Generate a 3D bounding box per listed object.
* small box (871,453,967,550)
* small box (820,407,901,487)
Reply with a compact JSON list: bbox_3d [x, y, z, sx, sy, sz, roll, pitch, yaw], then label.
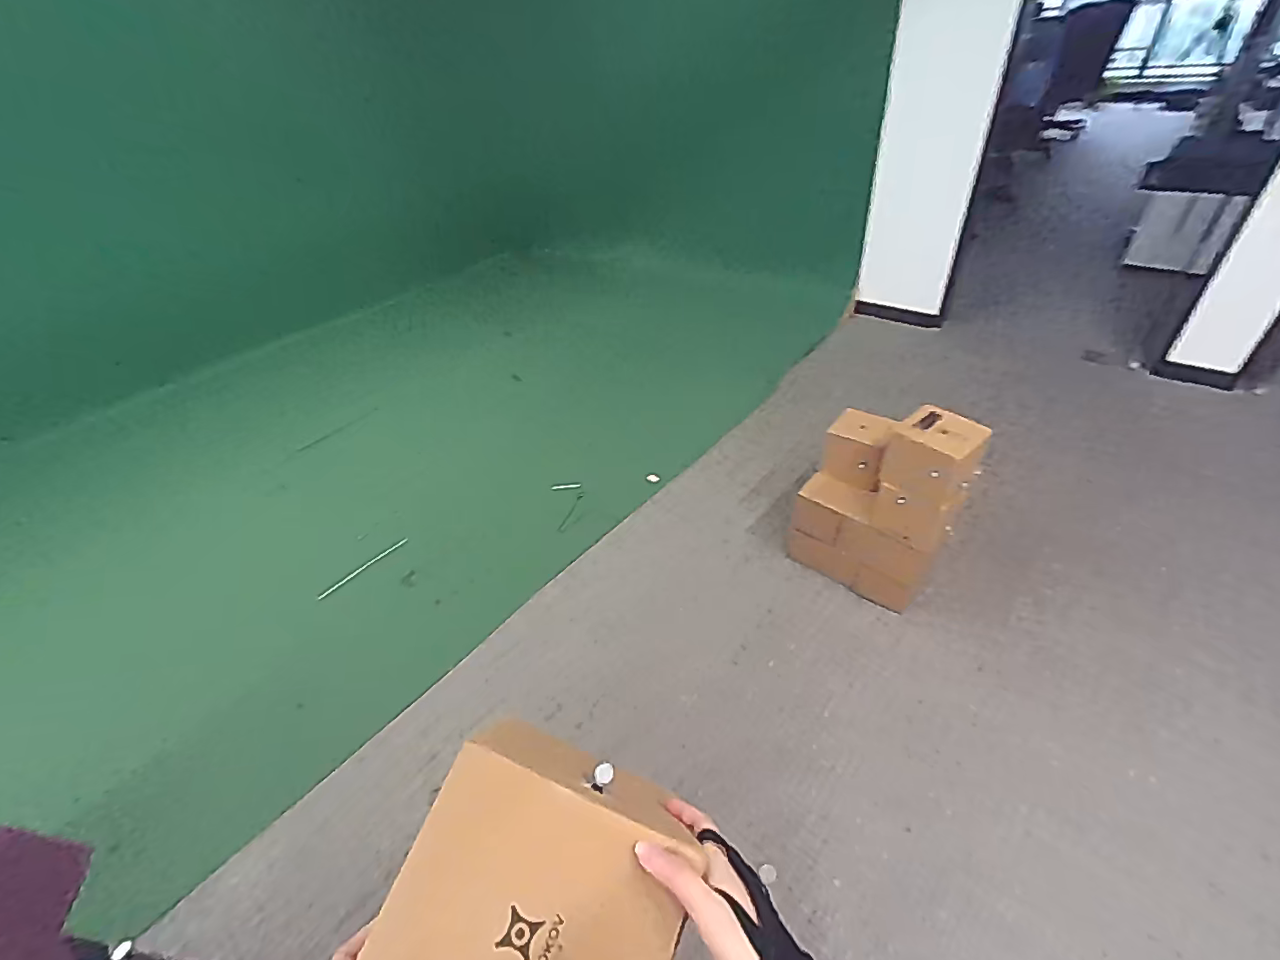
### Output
[{"bbox_3d":[0.771,0.060,1.511,0.179,0.176,0.168,-35,48,-30],"label":"small box"},{"bbox_3d":[0.693,-0.101,1.715,0.179,0.176,0.168,25,48,33],"label":"small box"}]
